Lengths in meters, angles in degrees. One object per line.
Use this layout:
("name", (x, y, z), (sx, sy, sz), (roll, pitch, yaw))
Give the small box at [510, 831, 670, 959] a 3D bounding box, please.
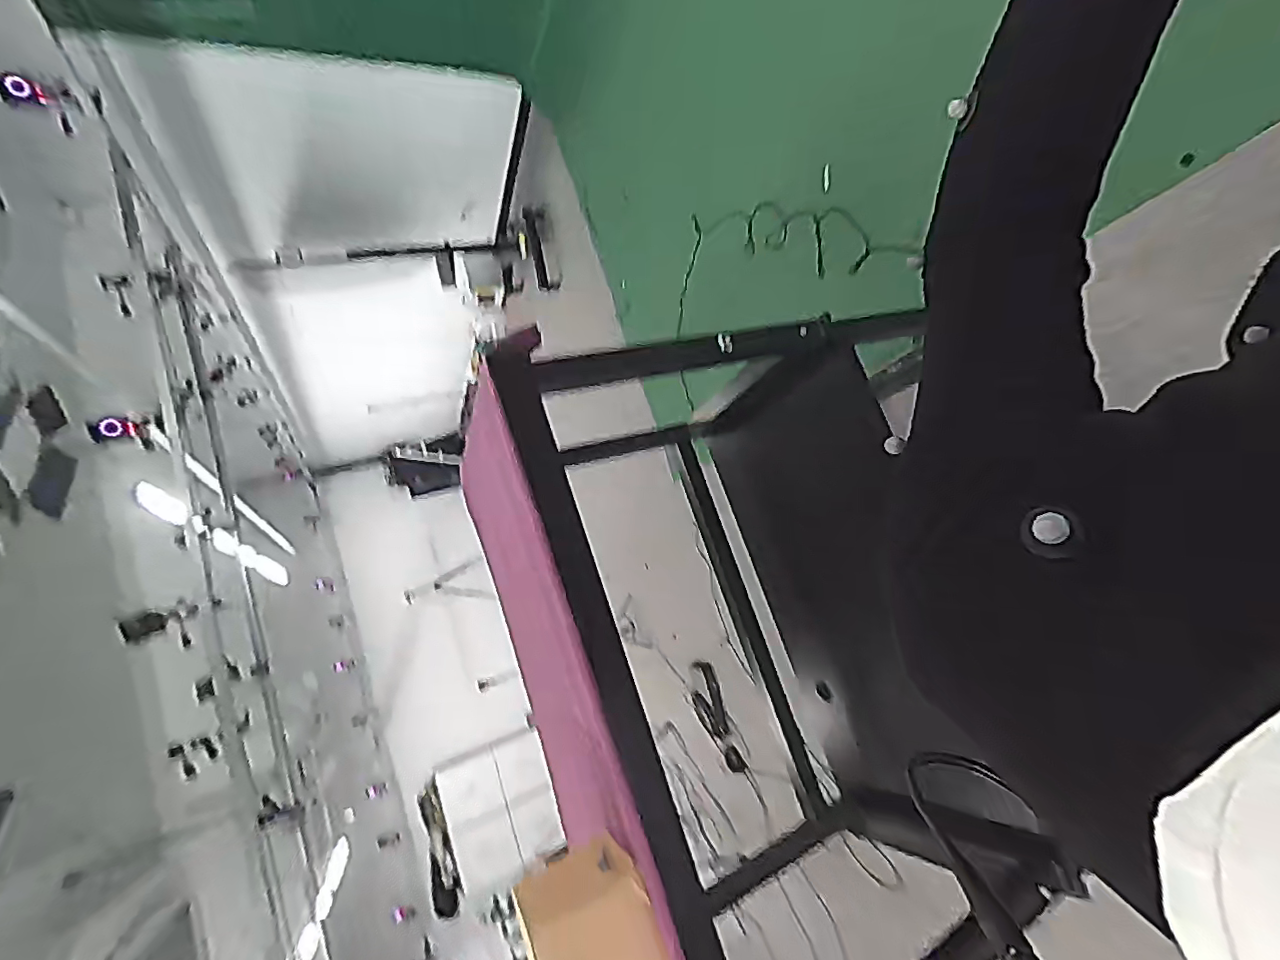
("small box", (-0.069, 0.648, 0.766), (0.168, 0.176, 0.179), (-36, 70, 63))
